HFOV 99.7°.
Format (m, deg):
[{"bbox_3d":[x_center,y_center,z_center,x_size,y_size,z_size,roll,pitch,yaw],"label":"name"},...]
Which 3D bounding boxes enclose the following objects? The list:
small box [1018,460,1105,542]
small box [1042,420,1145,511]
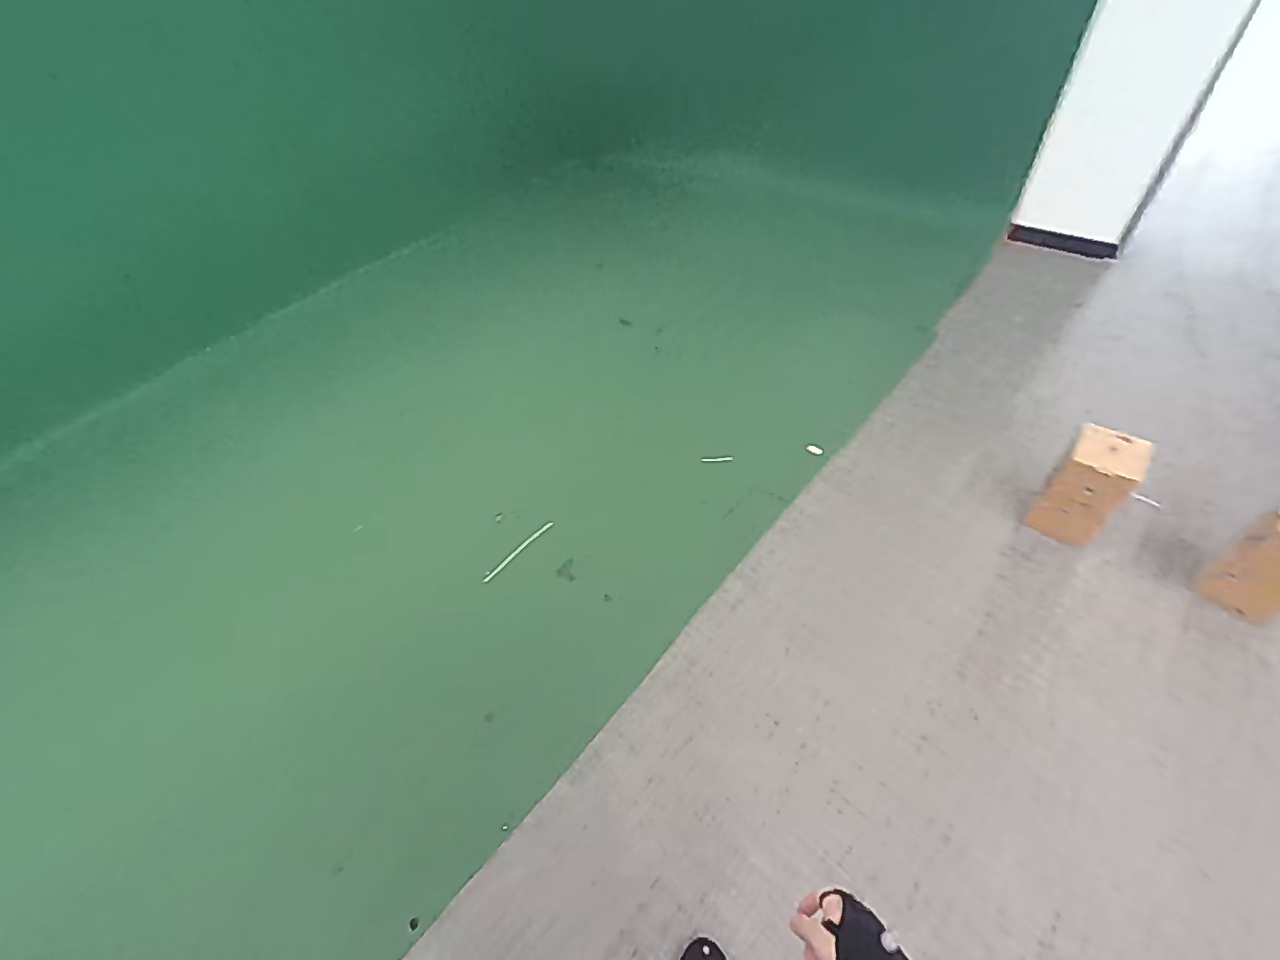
[{"bbox_3d":[1.348,0.067,1.716,0.179,0.176,0.168,31,62,28],"label":"small box"},{"bbox_3d":[1.327,-0.038,1.593,0.168,0.176,0.179,28,61,27],"label":"small box"}]
